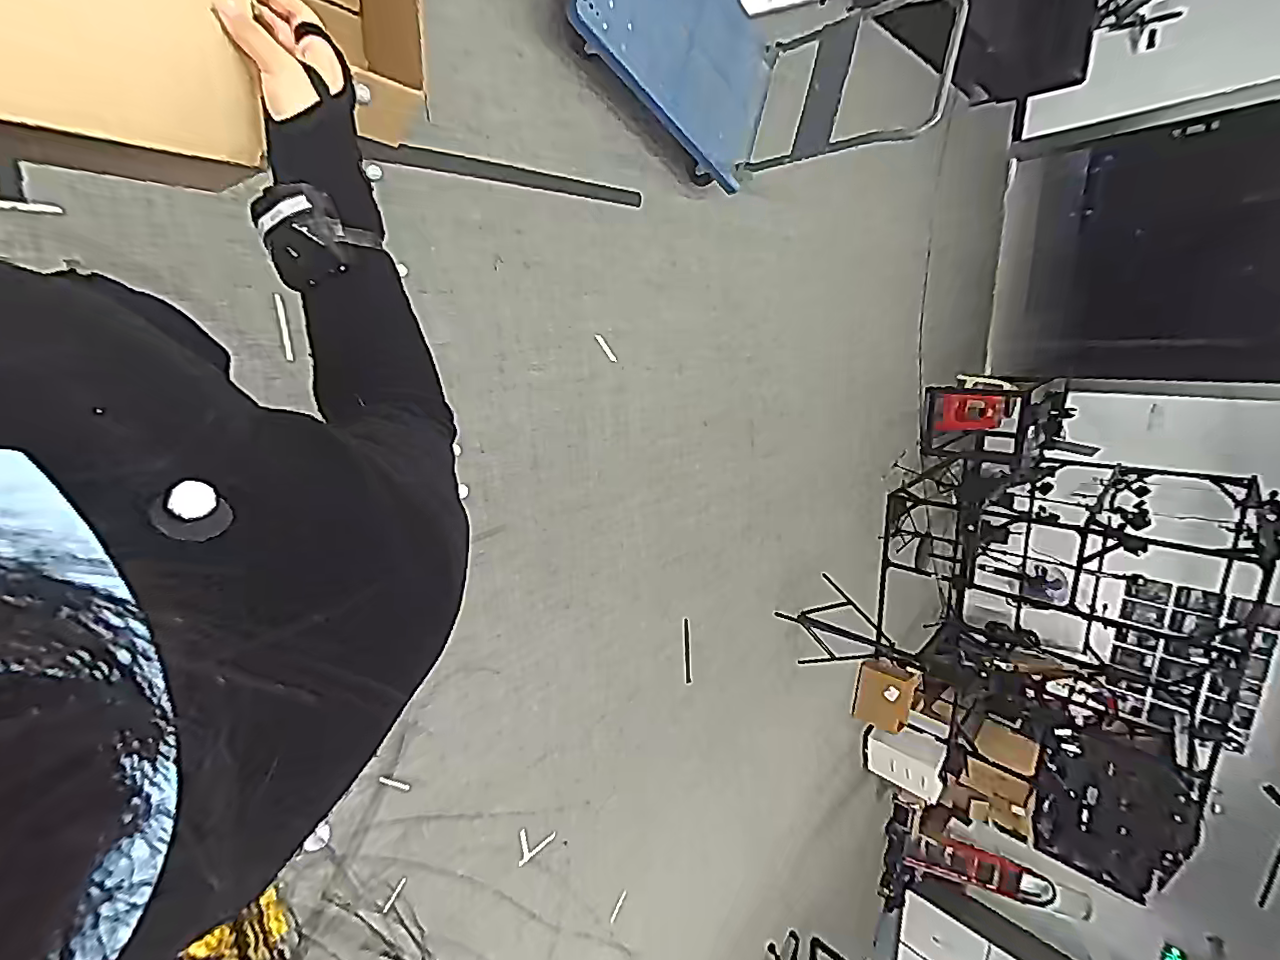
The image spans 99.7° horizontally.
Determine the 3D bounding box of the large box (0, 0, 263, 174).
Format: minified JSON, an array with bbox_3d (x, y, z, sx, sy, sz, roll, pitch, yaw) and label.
[{"bbox_3d":[-0.536,-0.423,0.365,0.408,0.320,0.320,-11,115,-40],"label":"large box"}]
